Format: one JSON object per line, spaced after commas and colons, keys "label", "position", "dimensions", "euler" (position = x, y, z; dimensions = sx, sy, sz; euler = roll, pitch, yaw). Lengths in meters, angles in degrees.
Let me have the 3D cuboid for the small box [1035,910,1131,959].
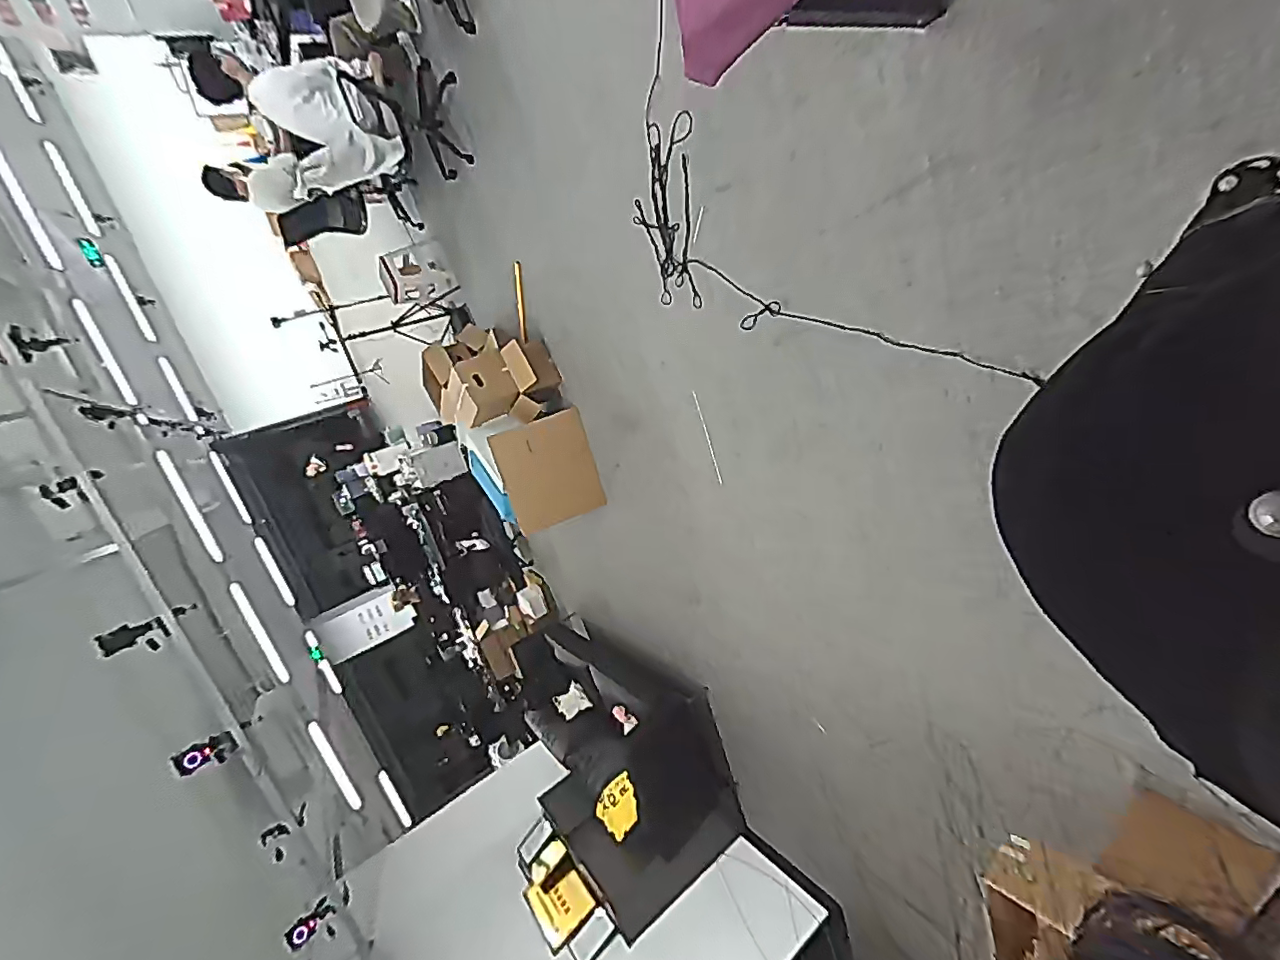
{"label": "small box", "position": [1.080, 1.216, 1.318], "dimensions": [0.168, 0.176, 0.179], "euler": [20, 128, 50]}
